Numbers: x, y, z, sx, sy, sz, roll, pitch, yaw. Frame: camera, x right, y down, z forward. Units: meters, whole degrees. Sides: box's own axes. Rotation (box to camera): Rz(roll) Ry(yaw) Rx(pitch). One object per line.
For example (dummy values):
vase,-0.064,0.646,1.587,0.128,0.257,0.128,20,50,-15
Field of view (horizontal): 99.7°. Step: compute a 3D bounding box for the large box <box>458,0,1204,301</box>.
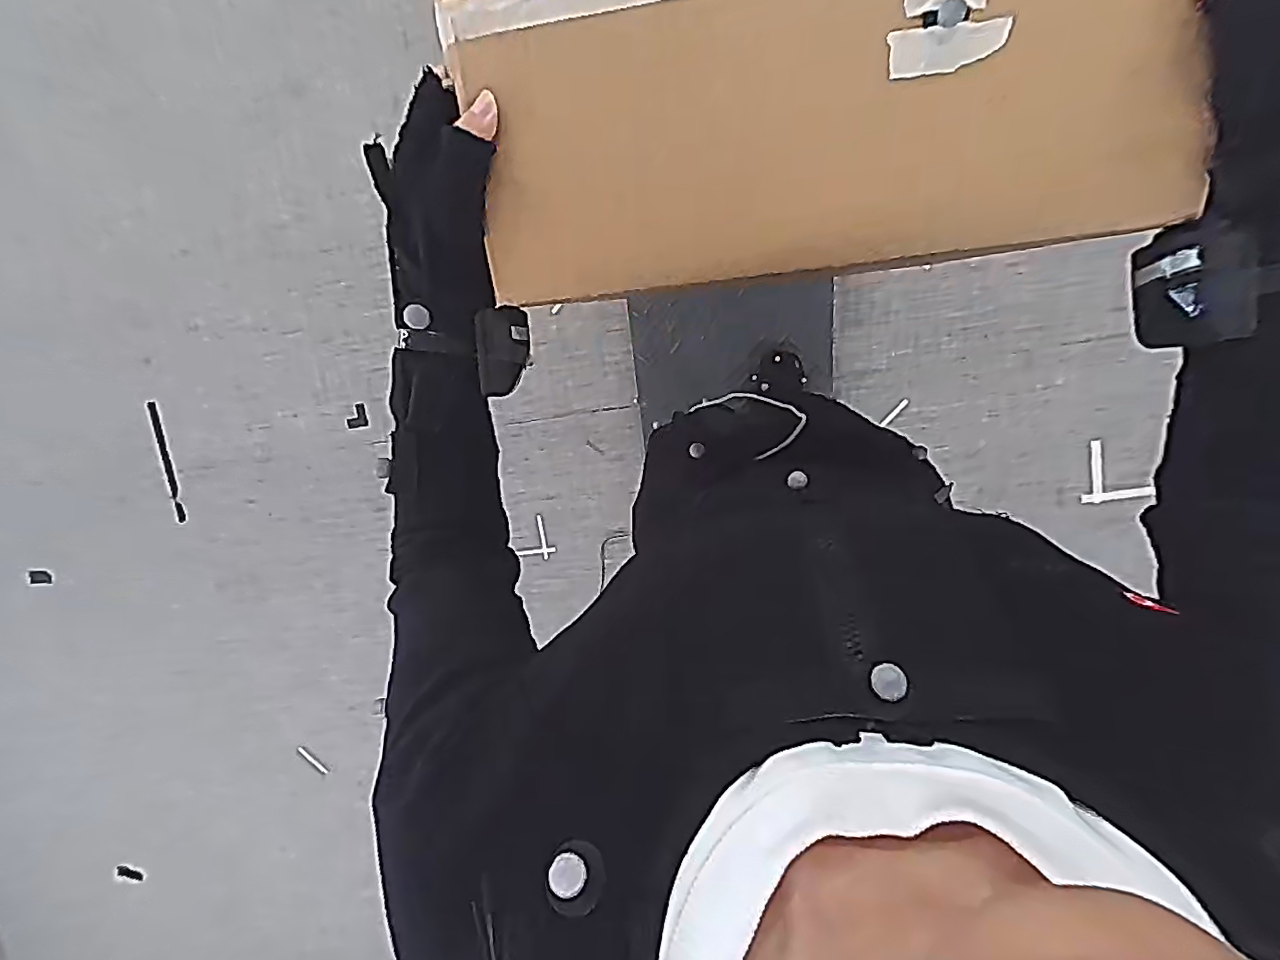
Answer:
large box,0.104,-0.331,0.433,0.408,0.320,0.320,-5,108,9
